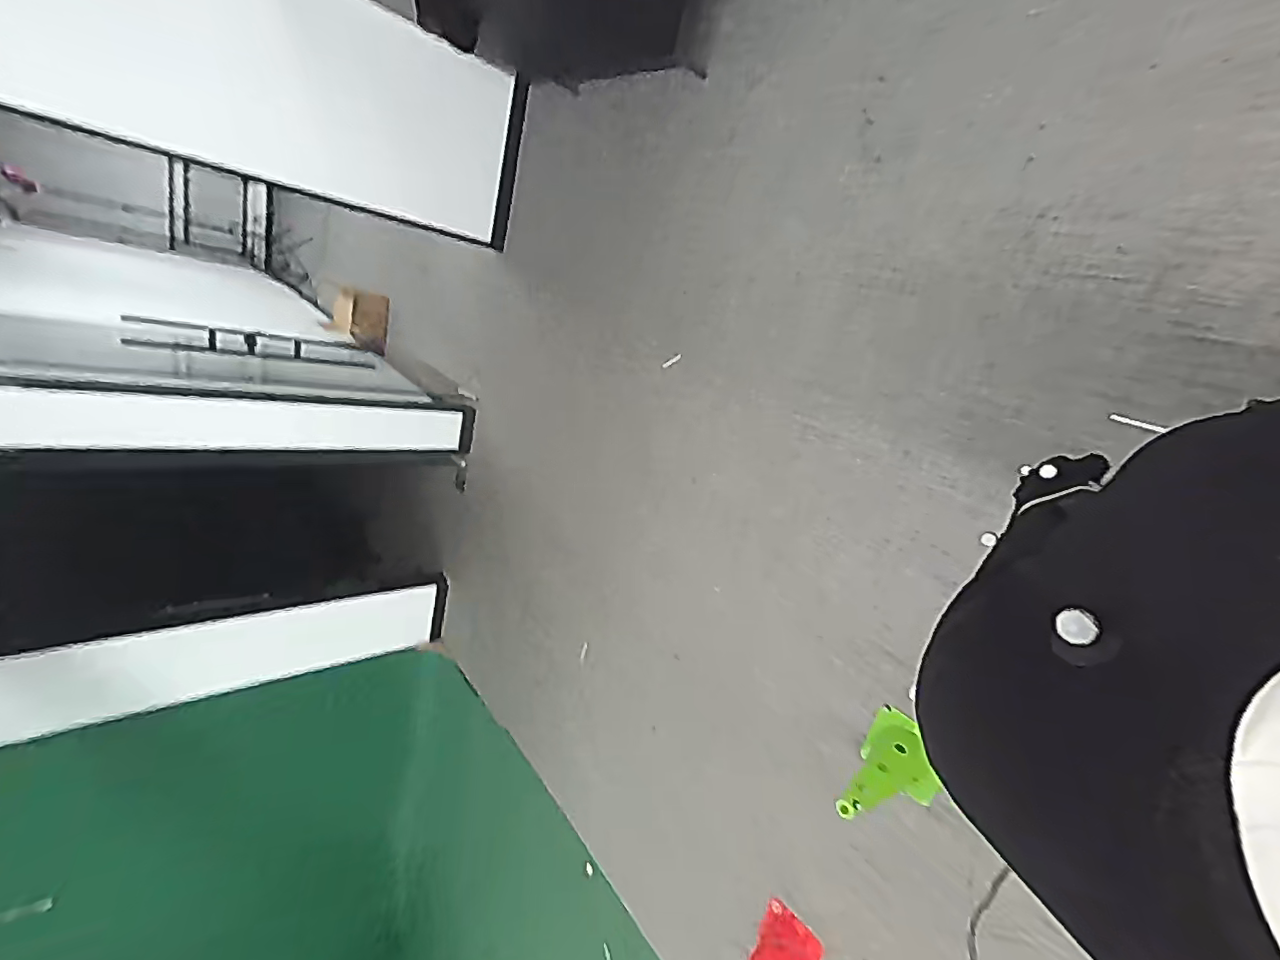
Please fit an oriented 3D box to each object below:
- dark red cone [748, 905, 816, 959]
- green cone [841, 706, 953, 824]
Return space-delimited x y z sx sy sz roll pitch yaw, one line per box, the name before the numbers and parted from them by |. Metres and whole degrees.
dark red cone | 0.346 1.522 1.632 0.202 0.394 0.201 26 111 44
green cone | 0.602 0.761 1.364 0.202 0.368 0.200 30 113 41
